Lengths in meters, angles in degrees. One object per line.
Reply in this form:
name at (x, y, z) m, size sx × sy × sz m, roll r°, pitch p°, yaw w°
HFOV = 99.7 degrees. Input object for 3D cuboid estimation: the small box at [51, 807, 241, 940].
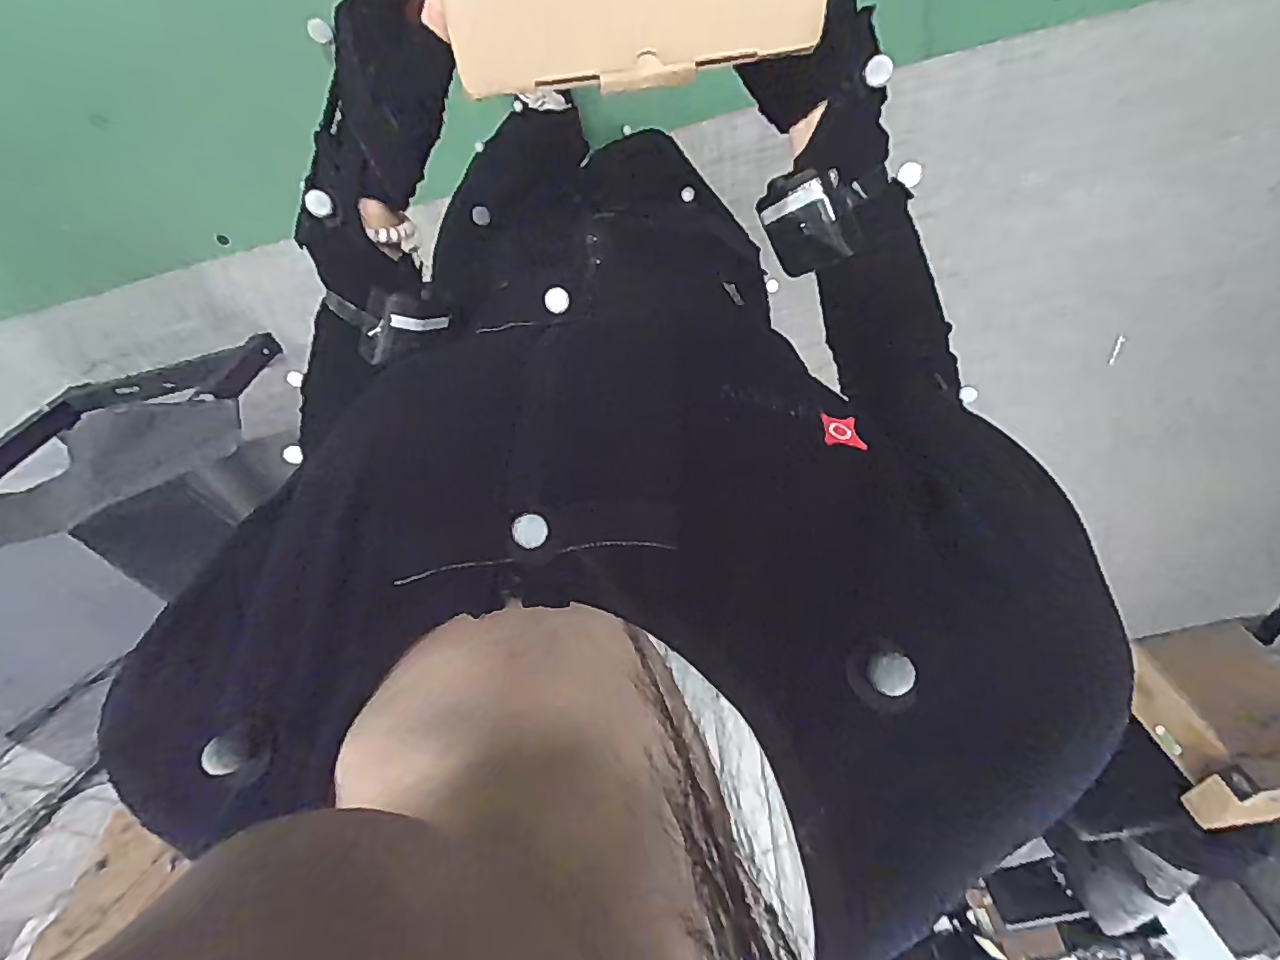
small box at (-0.941, 0.760, 1.053) m, size 0.168 × 0.176 × 0.179 m, roll -14°, pitch 130°, yaw 6°

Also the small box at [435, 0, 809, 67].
small box at (-0.023, -0.309, 0.237) m, size 0.168 × 0.176 × 0.179 m, roll -11°, pitch 135°, yaw -6°

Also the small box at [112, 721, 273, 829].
small box at (-0.955, 0.652, 1.174) m, size 0.179 × 0.176 × 0.168 m, roll -13°, pitch 130°, yaw 3°
